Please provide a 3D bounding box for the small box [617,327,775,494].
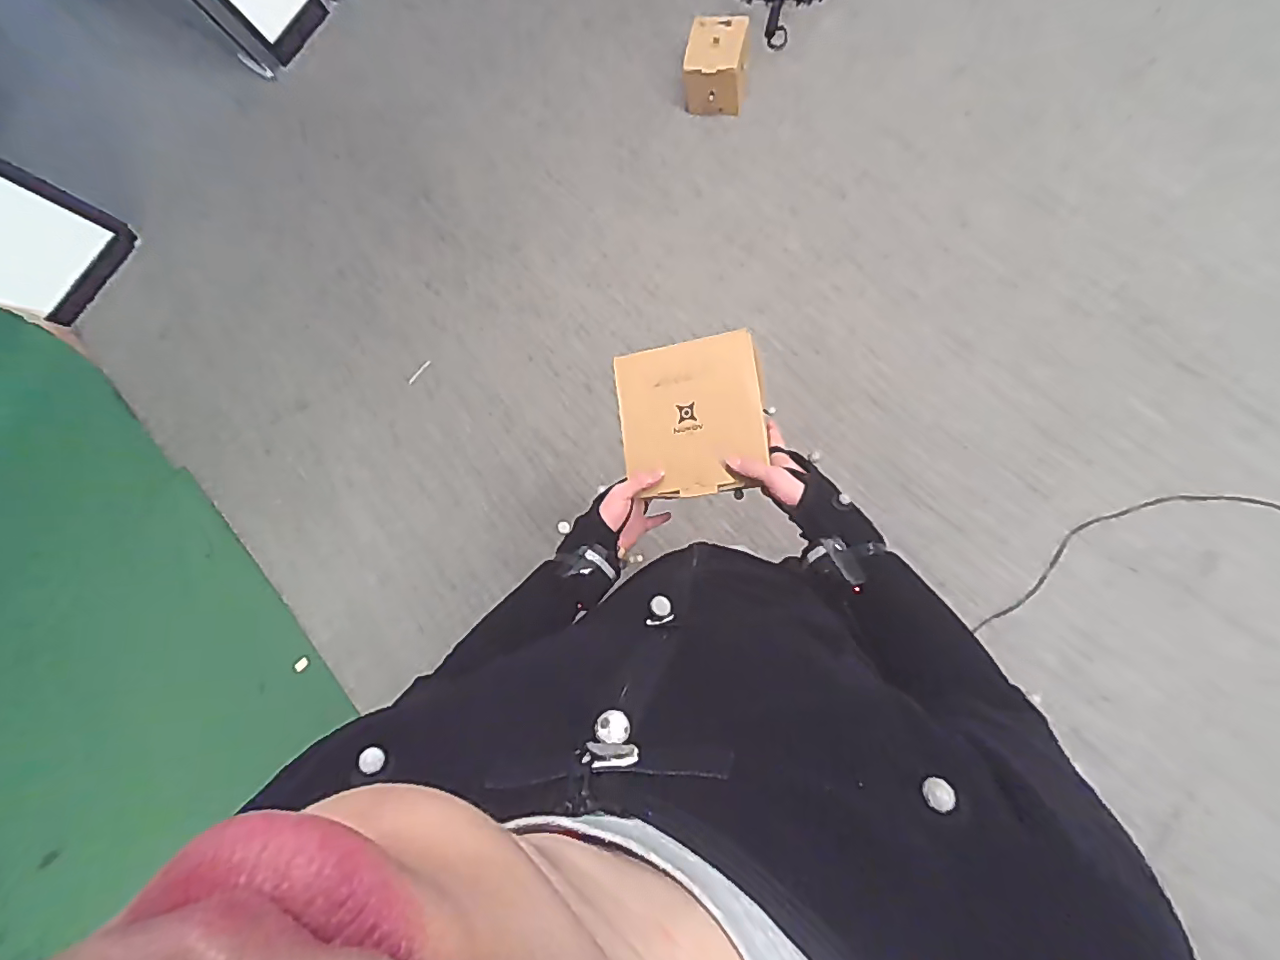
[{"bbox_3d":[0.081,-0.077,0.707,0.168,0.176,0.179,-8,85,16],"label":"small box"}]
